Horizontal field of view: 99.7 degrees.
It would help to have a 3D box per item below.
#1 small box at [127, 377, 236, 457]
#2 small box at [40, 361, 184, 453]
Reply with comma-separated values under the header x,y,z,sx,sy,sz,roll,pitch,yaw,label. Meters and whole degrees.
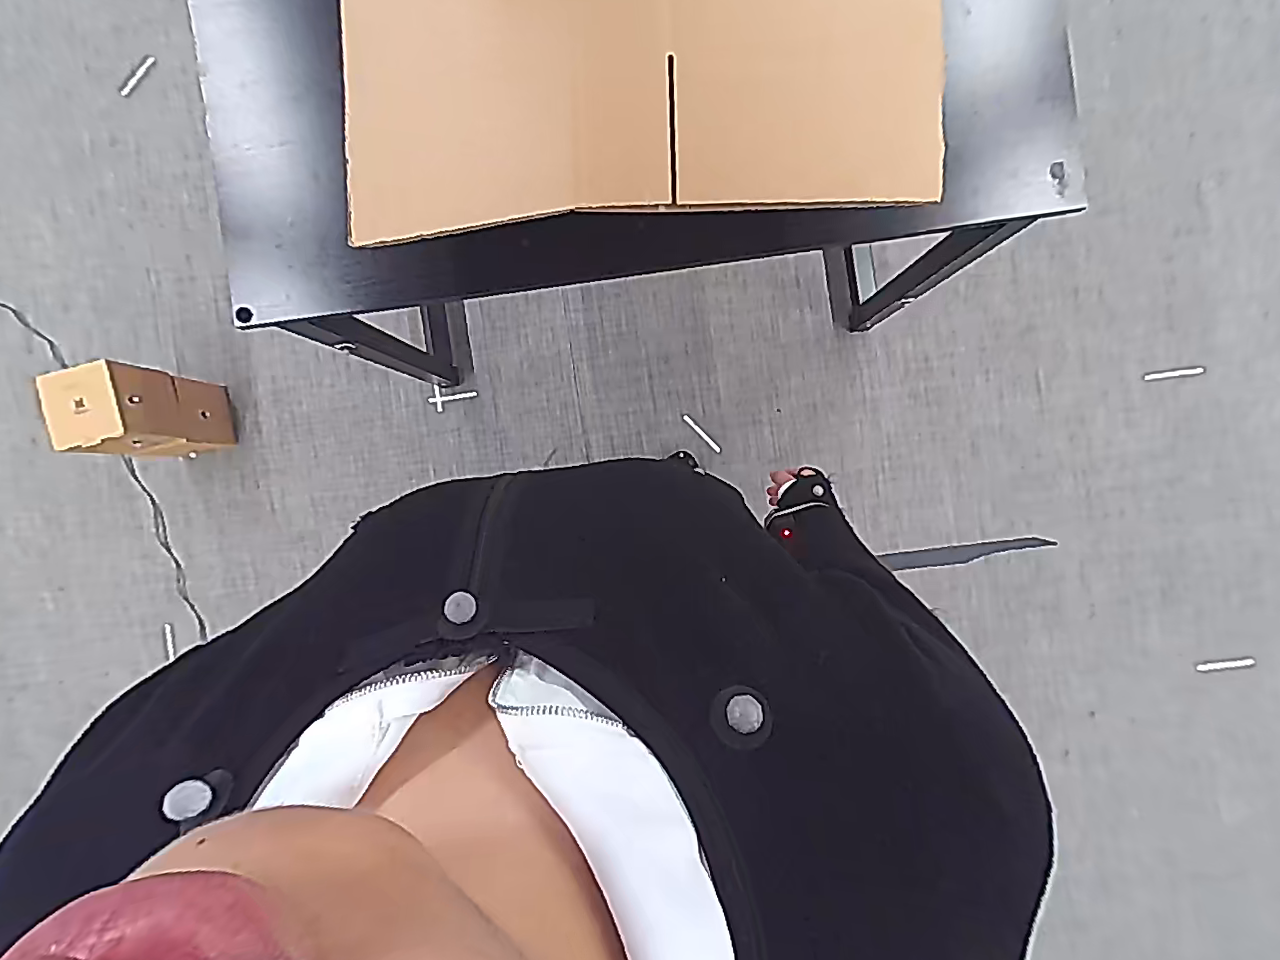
x,y,z,sx,sy,sz,roll,pitch,yaw,label
-1.230,-0.162,1.444,0.168,0.176,0.179,-11,91,2,small box
-1.237,-0.165,1.282,0.168,0.176,0.179,-14,89,1,small box
